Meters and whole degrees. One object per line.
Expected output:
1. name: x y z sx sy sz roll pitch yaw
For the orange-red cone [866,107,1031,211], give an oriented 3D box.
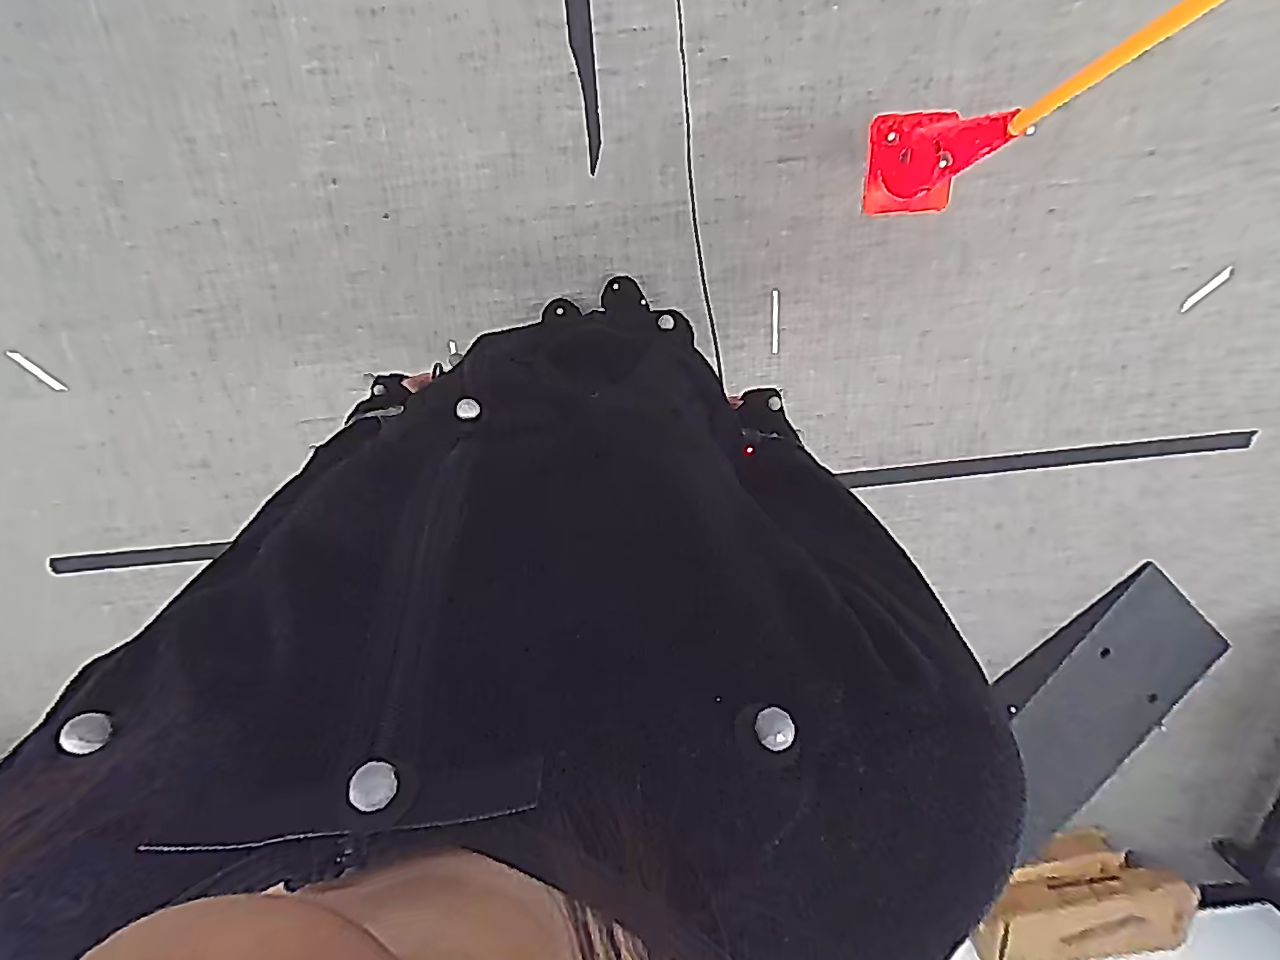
1. orange-red cone: 0.618 -0.650 1.048 0.198 0.360 0.199 -2 111 -1
